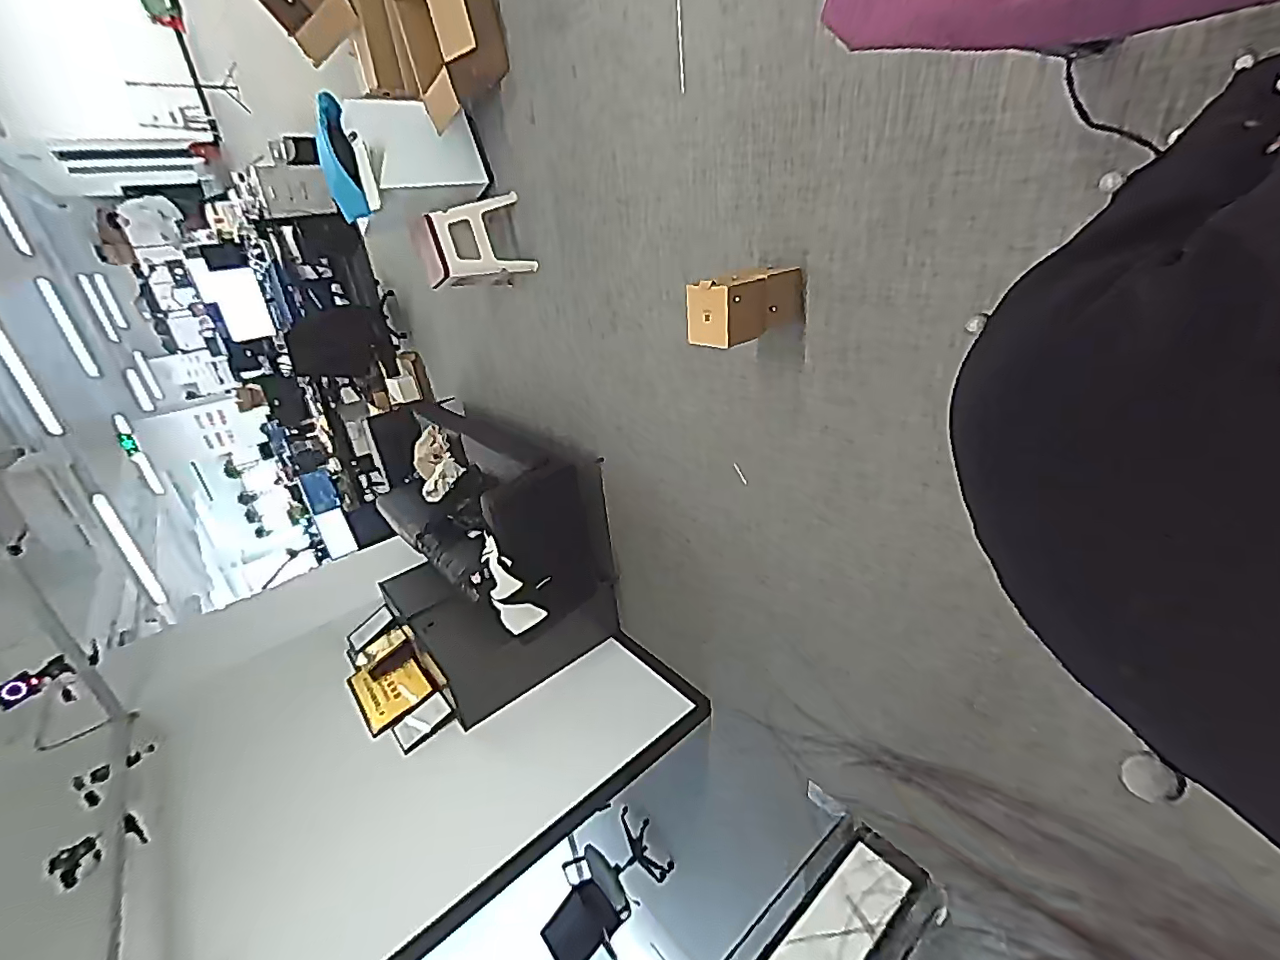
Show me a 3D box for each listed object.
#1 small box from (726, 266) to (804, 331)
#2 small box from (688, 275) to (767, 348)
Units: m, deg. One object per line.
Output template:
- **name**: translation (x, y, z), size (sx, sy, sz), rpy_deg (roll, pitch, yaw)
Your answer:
- **small box**: translation (0.390, -0.574, 1.701), size (0.179, 0.176, 0.168), rpy_deg (24, 129, 46)
- **small box**: translation (0.264, -0.508, 1.619), size (0.168, 0.176, 0.179), rpy_deg (24, 128, 46)
